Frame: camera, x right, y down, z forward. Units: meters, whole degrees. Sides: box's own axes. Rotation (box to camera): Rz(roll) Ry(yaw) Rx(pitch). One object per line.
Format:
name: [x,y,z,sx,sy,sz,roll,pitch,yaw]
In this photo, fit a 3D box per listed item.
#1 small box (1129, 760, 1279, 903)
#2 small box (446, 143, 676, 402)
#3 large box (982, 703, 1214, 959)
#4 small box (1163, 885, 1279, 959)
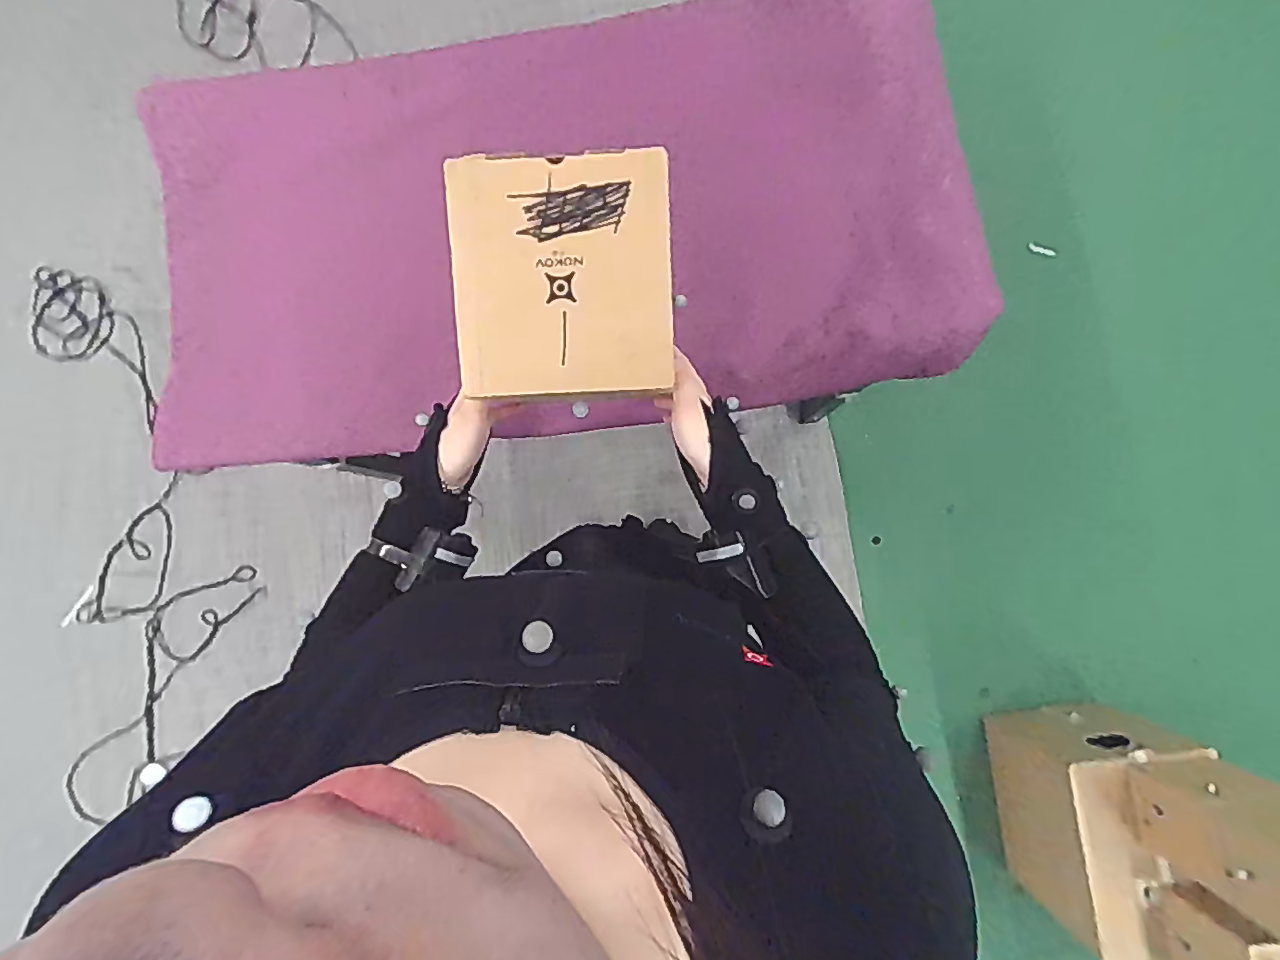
small box: [1.102,0.658,1.031,0.179,0.176,0.168,-7,85,1]
small box: [-0.055,-0.161,0.474,0.168,0.176,0.179,-2,97,2]
large box: [1.072,0.789,1.264,0.320,0.320,0.408,-7,85,2]
small box: [1.137,0.902,1.005,0.168,0.176,0.179,-1,85,2]
